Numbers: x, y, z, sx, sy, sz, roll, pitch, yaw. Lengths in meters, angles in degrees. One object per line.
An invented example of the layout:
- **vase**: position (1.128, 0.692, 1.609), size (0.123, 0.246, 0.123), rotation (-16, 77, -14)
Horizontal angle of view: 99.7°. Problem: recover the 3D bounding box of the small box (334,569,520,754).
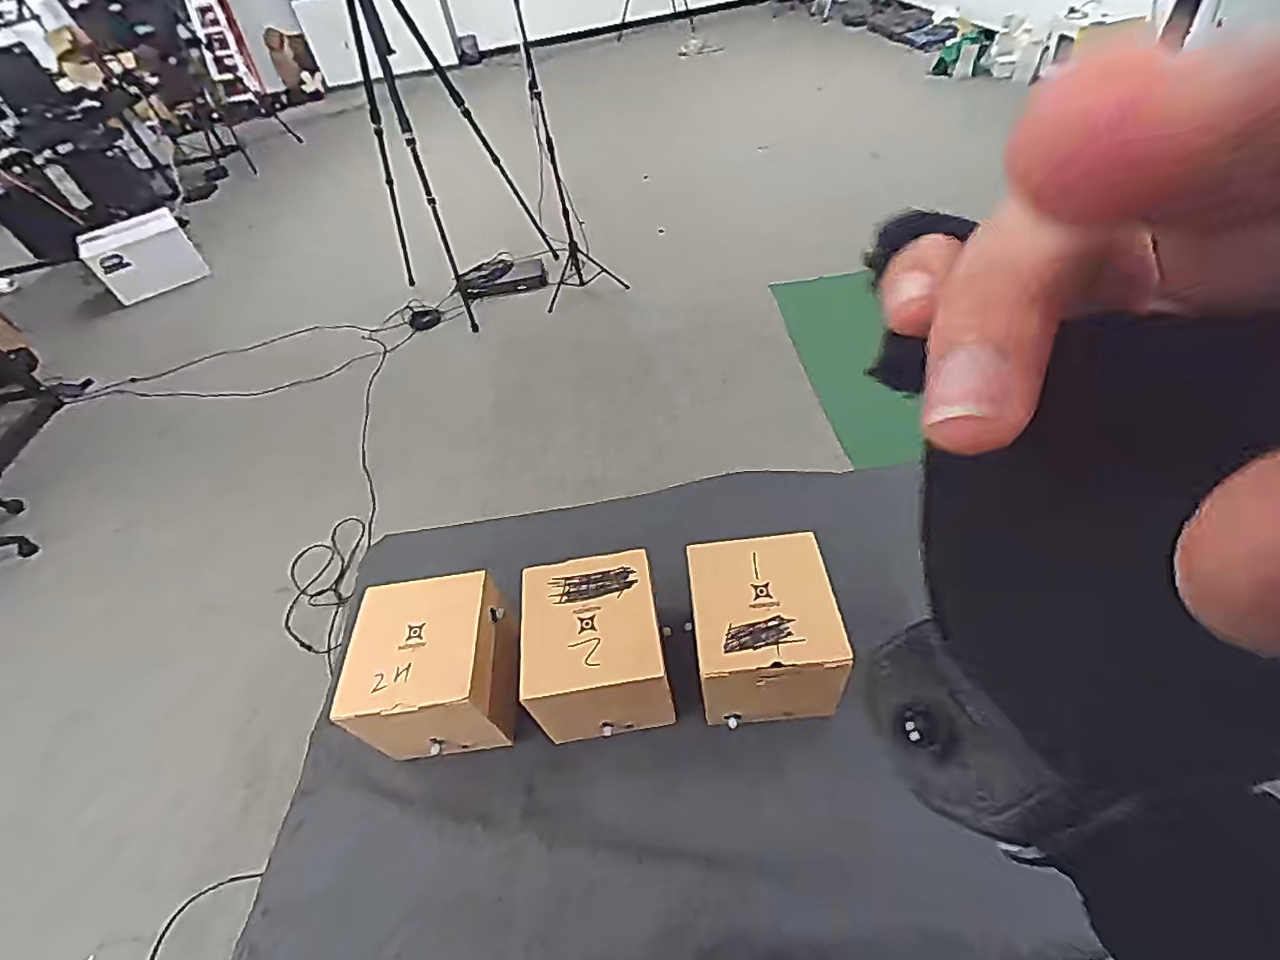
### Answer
- **small box**: position (-0.266, 0.245, 0.728), size (0.168, 0.176, 0.179), rotation (-8, 48, 3)
